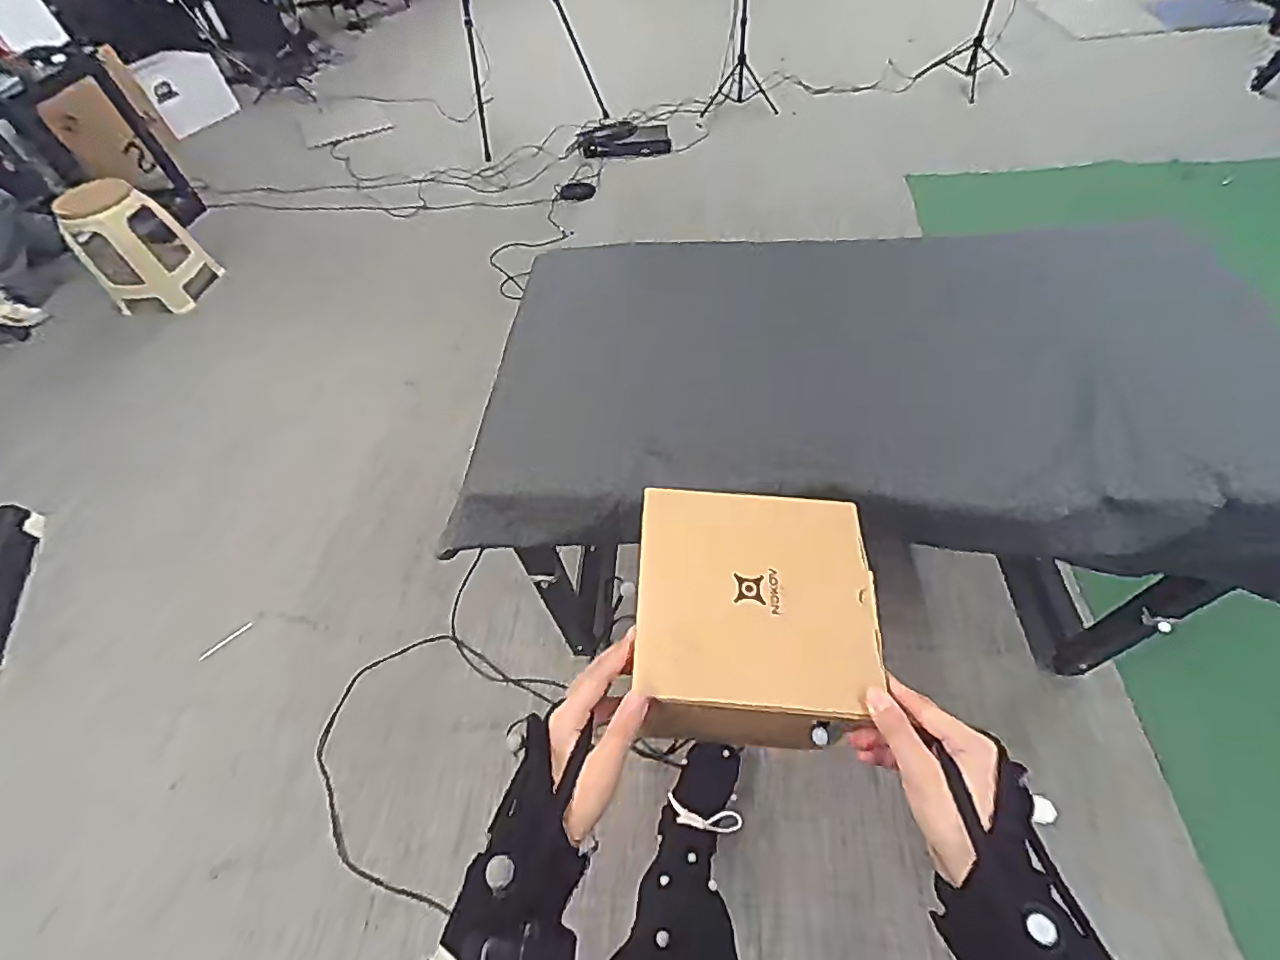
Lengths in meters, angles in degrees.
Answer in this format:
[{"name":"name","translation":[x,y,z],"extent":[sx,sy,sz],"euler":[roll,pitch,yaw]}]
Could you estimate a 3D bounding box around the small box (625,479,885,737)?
[{"name":"small box","translation":[0.080,0.118,0.469],"extent":[0.179,0.176,0.168],"euler":[5,57,0]}]
